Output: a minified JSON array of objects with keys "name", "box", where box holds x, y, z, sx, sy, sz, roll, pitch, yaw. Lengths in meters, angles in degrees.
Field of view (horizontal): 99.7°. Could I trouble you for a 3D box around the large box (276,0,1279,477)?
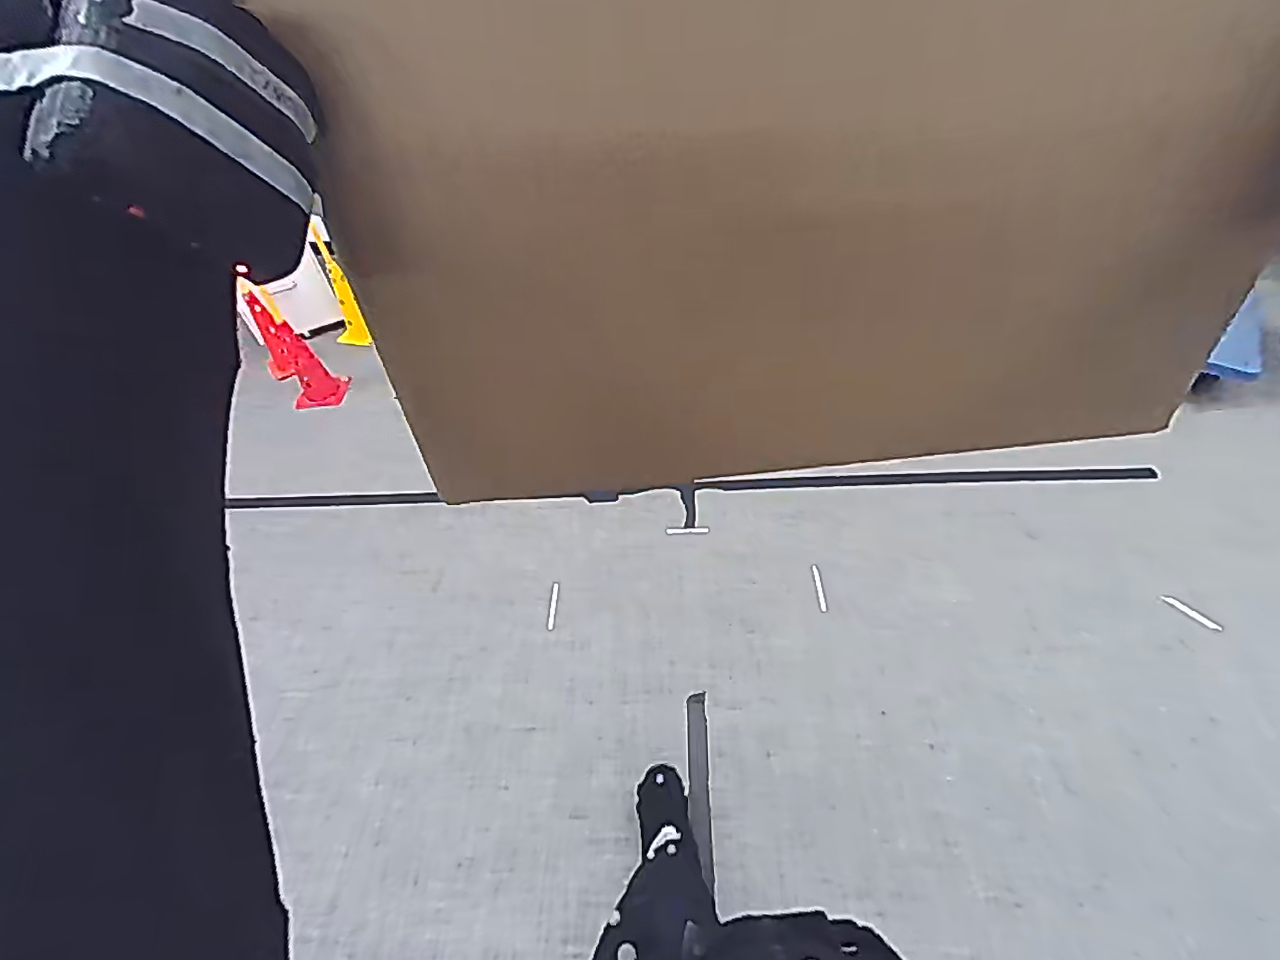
[{"name":"large box","box":[0.065,-0.227,0.332,0.408,0.320,0.320,-5,39,-1]}]
